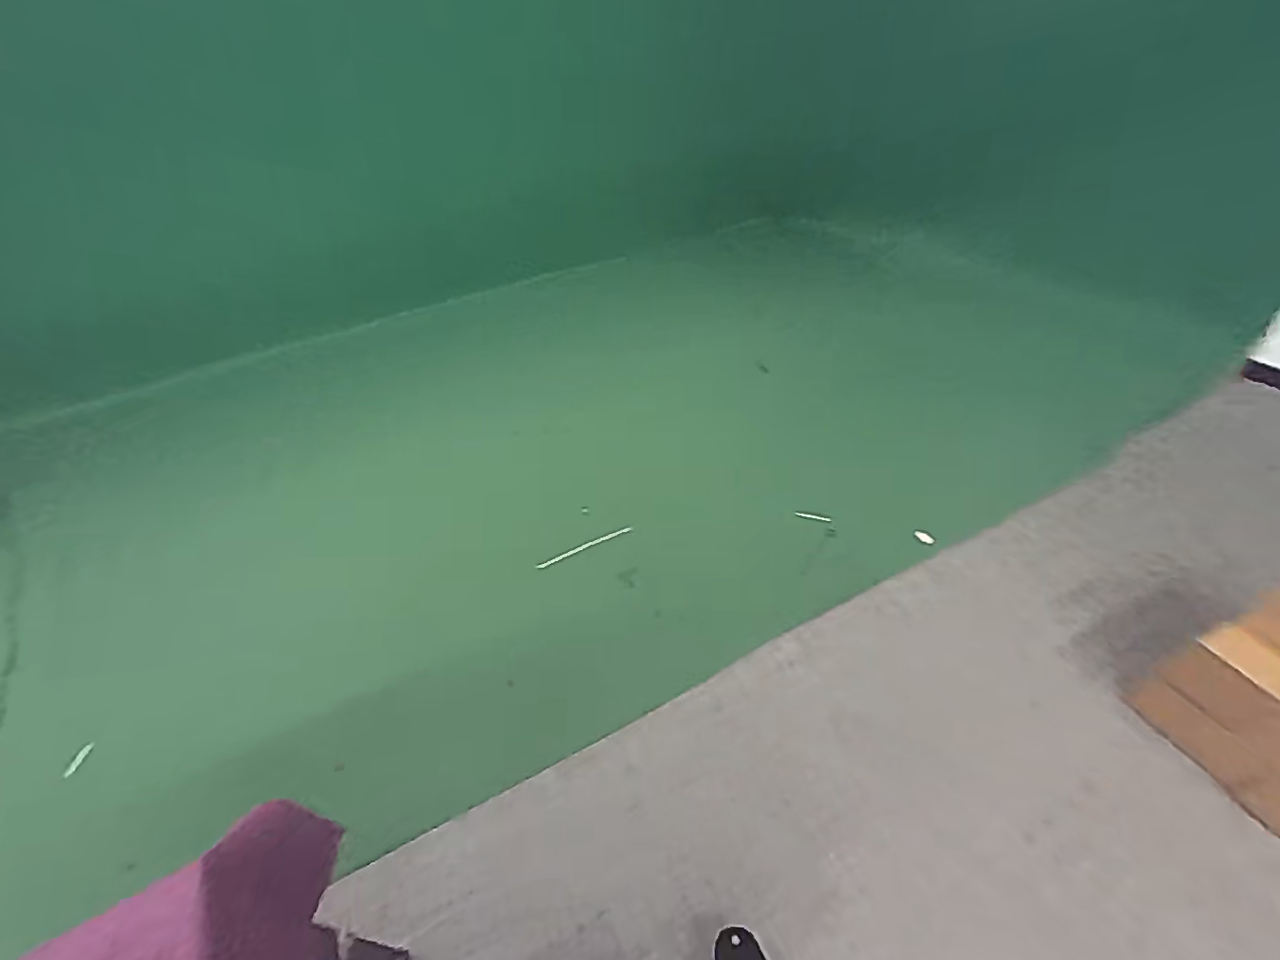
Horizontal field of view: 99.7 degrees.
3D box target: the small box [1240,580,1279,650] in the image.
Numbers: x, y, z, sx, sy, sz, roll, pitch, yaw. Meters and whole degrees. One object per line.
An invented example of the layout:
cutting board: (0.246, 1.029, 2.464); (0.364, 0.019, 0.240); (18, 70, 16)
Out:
small box: (1.458, 0.280, 1.142); (0.179, 0.176, 0.168); (-16, 43, -13)
